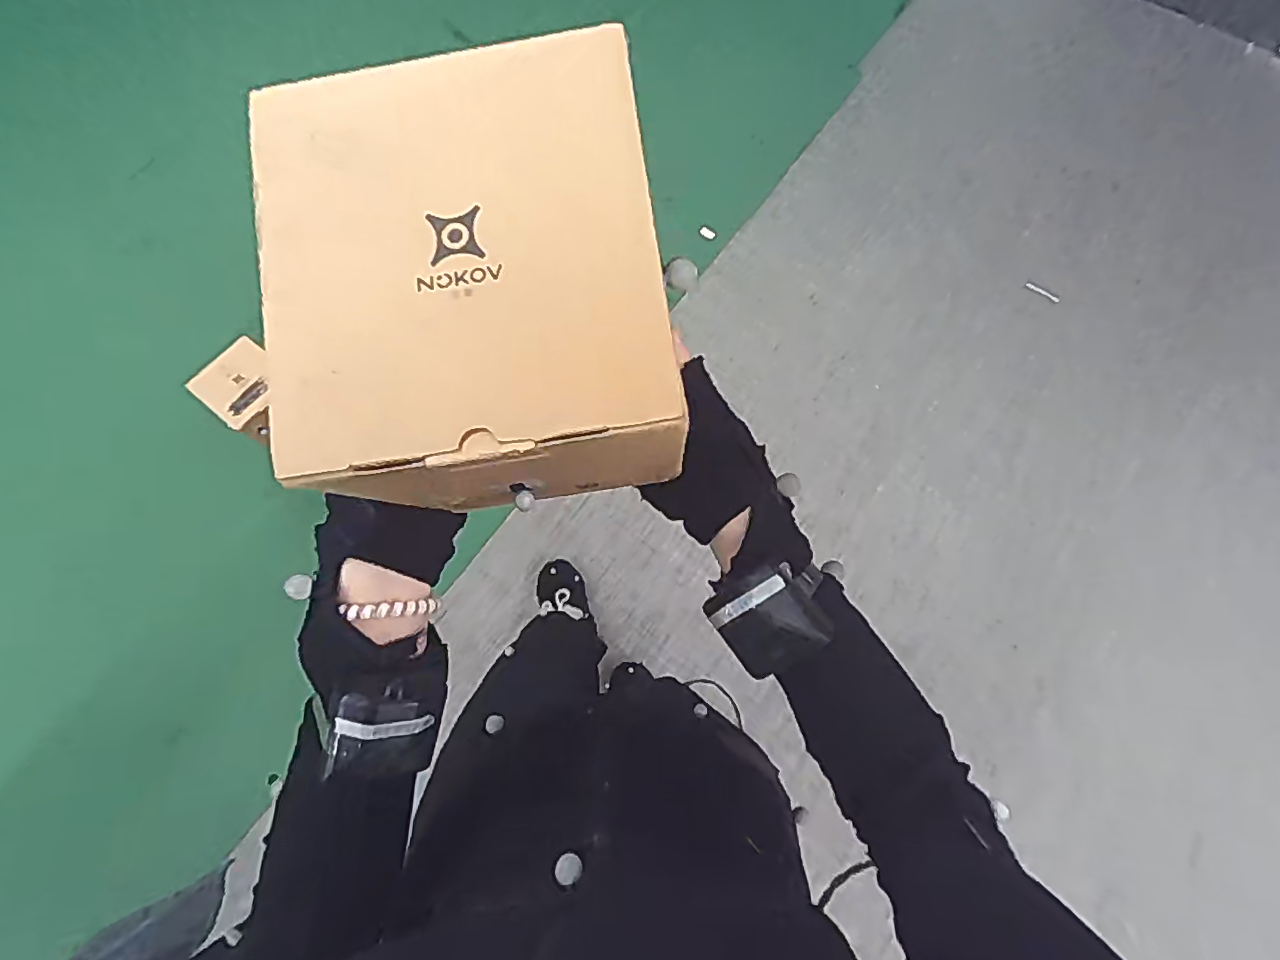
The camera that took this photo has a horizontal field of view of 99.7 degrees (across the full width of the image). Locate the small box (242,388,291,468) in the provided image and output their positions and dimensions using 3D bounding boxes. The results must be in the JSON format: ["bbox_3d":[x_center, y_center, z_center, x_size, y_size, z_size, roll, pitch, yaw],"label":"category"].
[{"bbox_3d":[-0.871,-0.123,1.417,0.179,0.176,0.168,39,76,11],"label":"small box"}]

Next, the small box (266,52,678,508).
[{"bbox_3d":[-0.073,-0.085,0.312,0.168,0.176,0.179,-9,83,3],"label":"small box"}]
